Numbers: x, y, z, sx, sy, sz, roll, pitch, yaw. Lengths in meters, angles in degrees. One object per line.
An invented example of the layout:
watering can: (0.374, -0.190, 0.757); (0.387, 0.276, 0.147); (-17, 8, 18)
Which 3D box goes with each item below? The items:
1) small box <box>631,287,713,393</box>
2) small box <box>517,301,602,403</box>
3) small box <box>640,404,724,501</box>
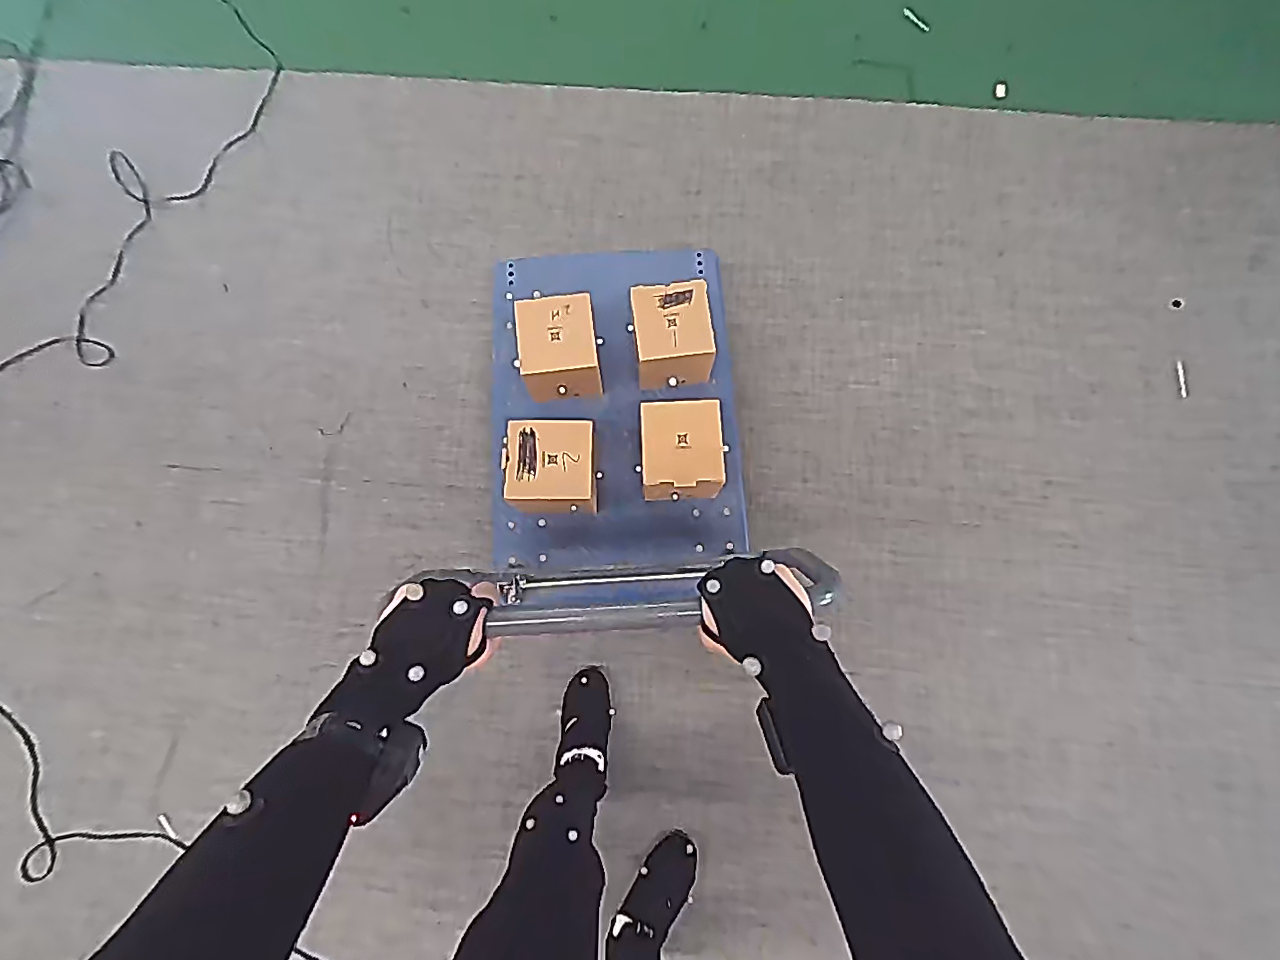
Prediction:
small box: (0.069, -0.319, 1.255); (0.168, 0.176, 0.179); (-7, 78, 0)
small box: (-0.181, -0.286, 1.249); (0.168, 0.176, 0.179); (-7, 77, -2)
small box: (0.086, -0.055, 1.196); (0.168, 0.176, 0.179); (-3, 78, -1)
